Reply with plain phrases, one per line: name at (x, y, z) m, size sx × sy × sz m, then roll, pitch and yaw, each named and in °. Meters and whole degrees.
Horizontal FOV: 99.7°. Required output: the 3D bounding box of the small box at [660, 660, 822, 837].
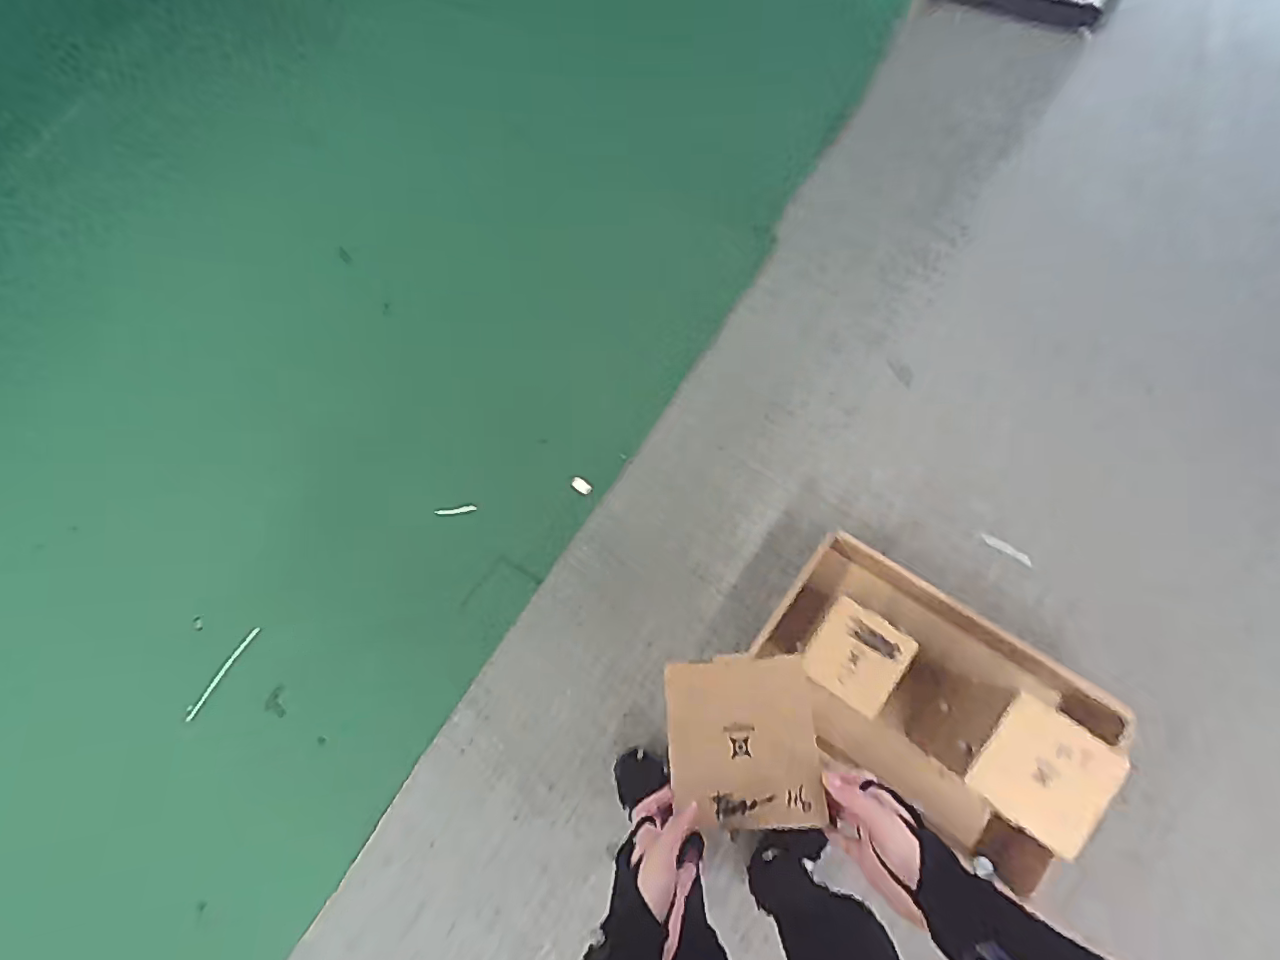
small box at (0.118, 0.334, 0.675) m, size 0.168 × 0.176 × 0.179 m, roll -7°, pitch 62°, yaw 8°

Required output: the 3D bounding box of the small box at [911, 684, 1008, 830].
small box at (0.656, 0.522, 1.050) m, size 0.168 × 0.176 × 0.179 m, roll 36°, pitch 85°, yaw 19°

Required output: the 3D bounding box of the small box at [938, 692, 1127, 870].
small box at (0.625, 0.479, 0.893) m, size 0.168 × 0.176 × 0.179 m, roll 36°, pitch 84°, yaw 19°
